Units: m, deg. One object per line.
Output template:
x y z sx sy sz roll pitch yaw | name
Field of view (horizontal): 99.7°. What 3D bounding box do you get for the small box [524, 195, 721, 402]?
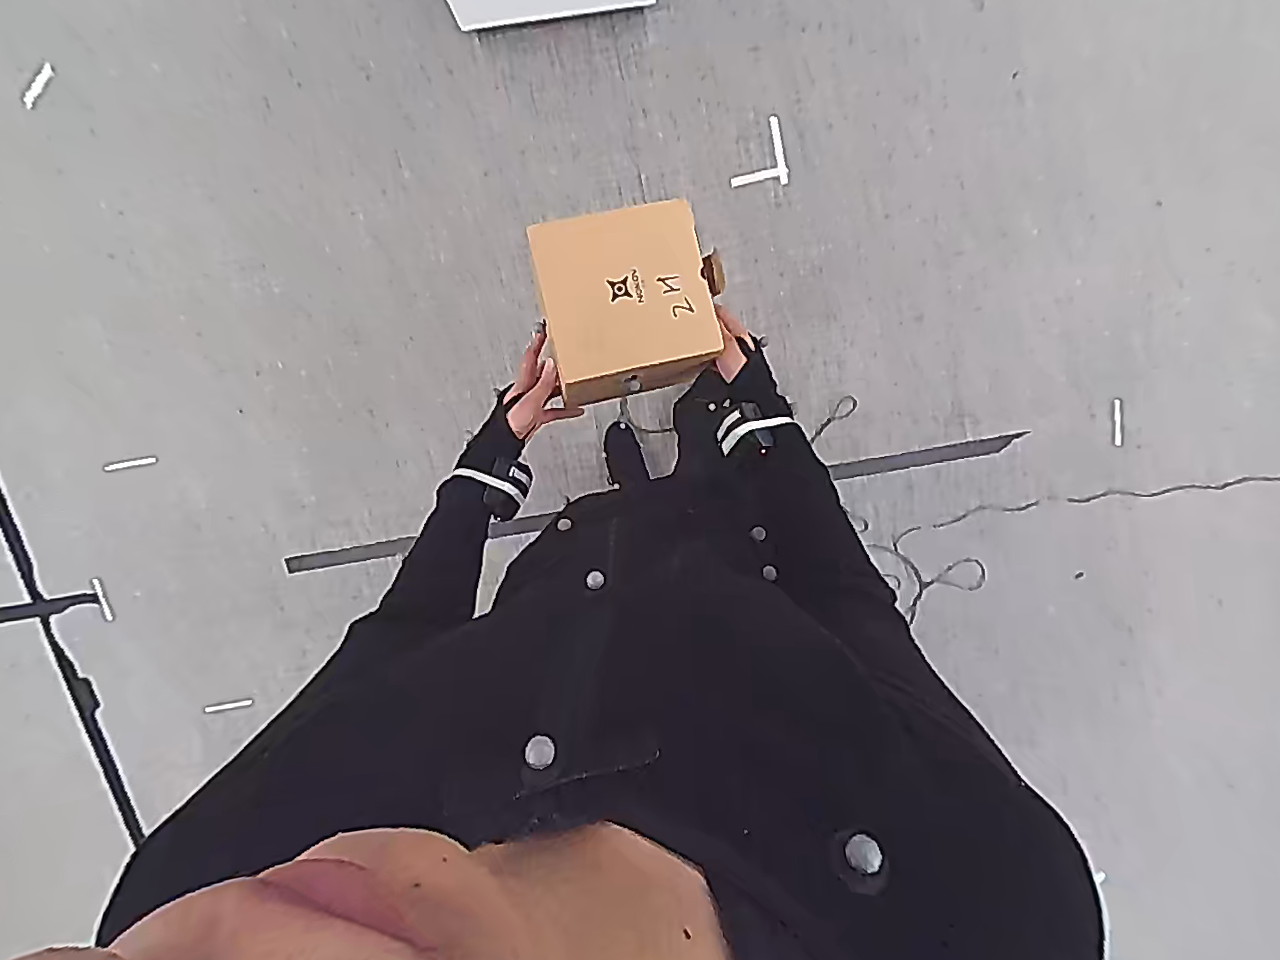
-0.025 -0.198 0.635 0.179 0.176 0.168 -14 91 -8 | small box
